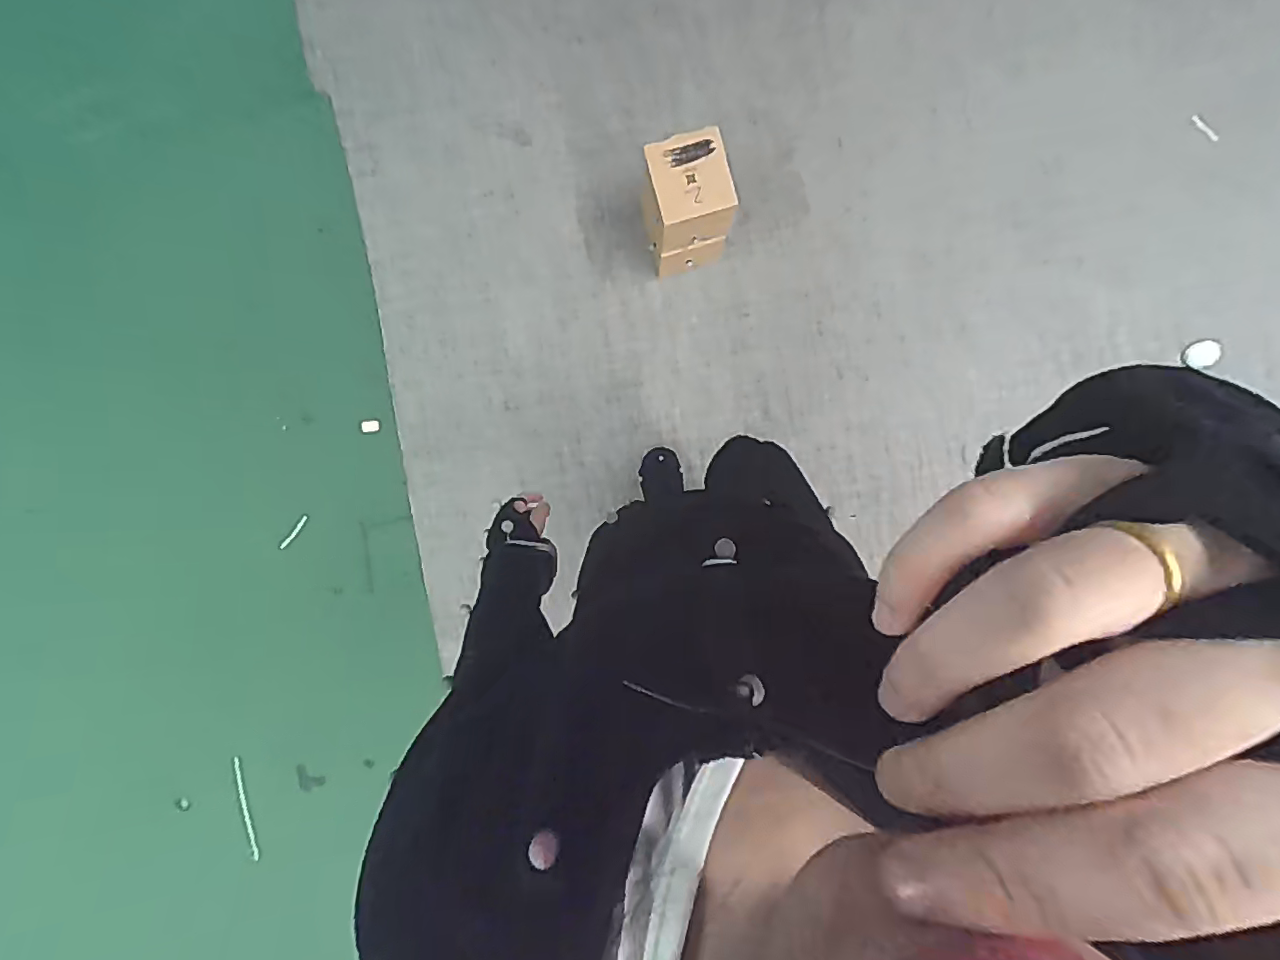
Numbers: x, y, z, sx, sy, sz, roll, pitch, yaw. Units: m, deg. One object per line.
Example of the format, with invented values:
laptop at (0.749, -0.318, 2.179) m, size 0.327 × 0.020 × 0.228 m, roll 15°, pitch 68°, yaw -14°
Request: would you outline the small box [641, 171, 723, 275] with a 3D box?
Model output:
small box at (0.104, -0.647, 1.390) m, size 0.168 × 0.176 × 0.179 m, roll -16°, pitch 93°, yaw 1°
